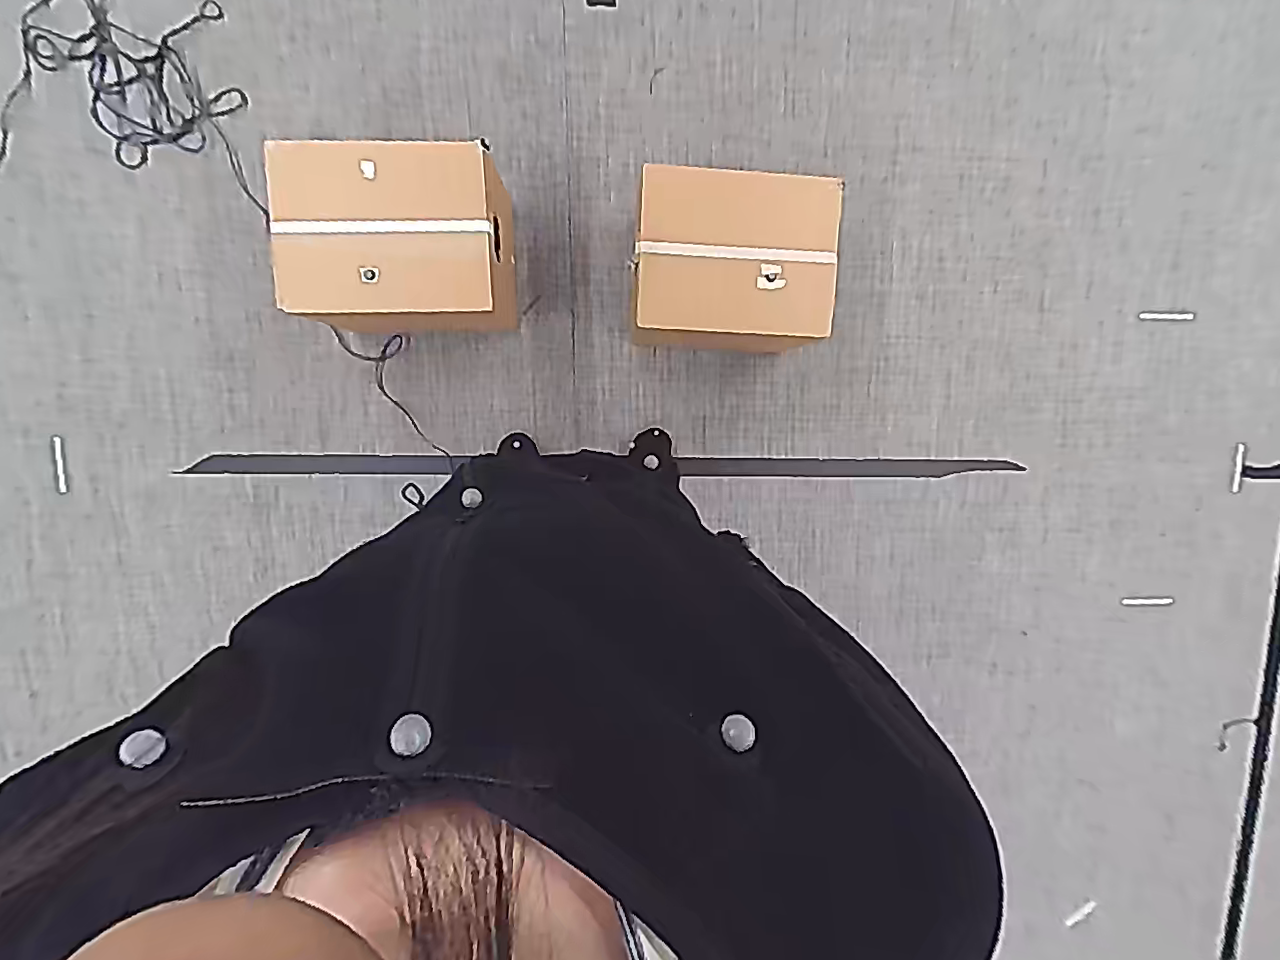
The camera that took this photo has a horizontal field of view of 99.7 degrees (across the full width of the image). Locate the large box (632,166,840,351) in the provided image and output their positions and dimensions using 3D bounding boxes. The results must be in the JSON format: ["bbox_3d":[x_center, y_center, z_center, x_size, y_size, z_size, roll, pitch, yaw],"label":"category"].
[{"bbox_3d":[0.190,-0.477,1.240,0.408,0.320,0.320,2,97,-5],"label":"large box"}]
